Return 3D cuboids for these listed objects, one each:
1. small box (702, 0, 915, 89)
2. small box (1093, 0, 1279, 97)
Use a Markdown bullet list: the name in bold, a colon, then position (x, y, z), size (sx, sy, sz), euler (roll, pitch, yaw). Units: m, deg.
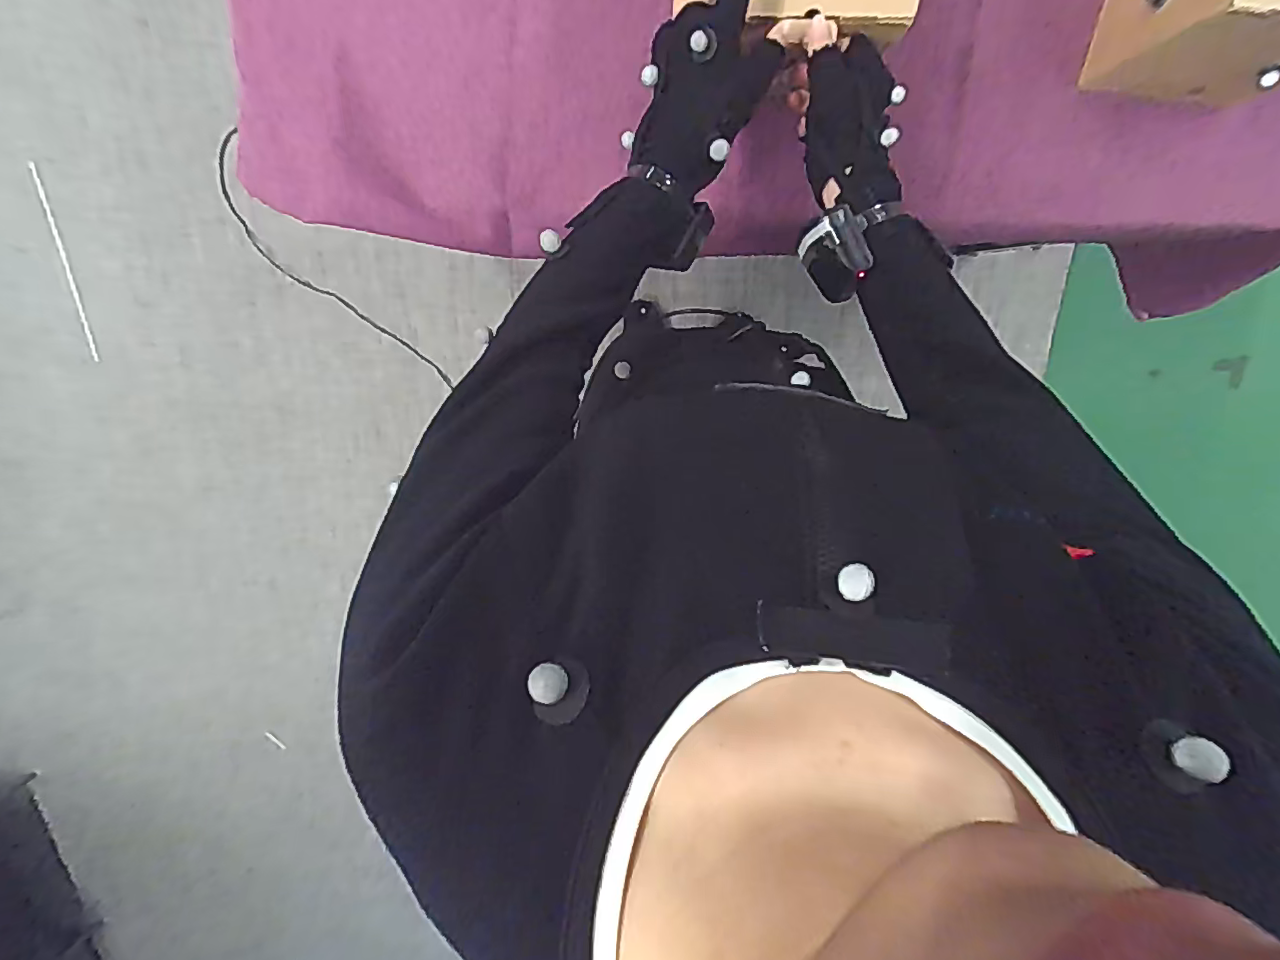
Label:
- **small box**: position (0.146, -0.478, 0.484), size (0.168, 0.176, 0.179), euler (3, 109, 2)
- **small box**: position (0.550, -0.462, 0.465), size (0.168, 0.176, 0.179), euler (8, 109, 1)
